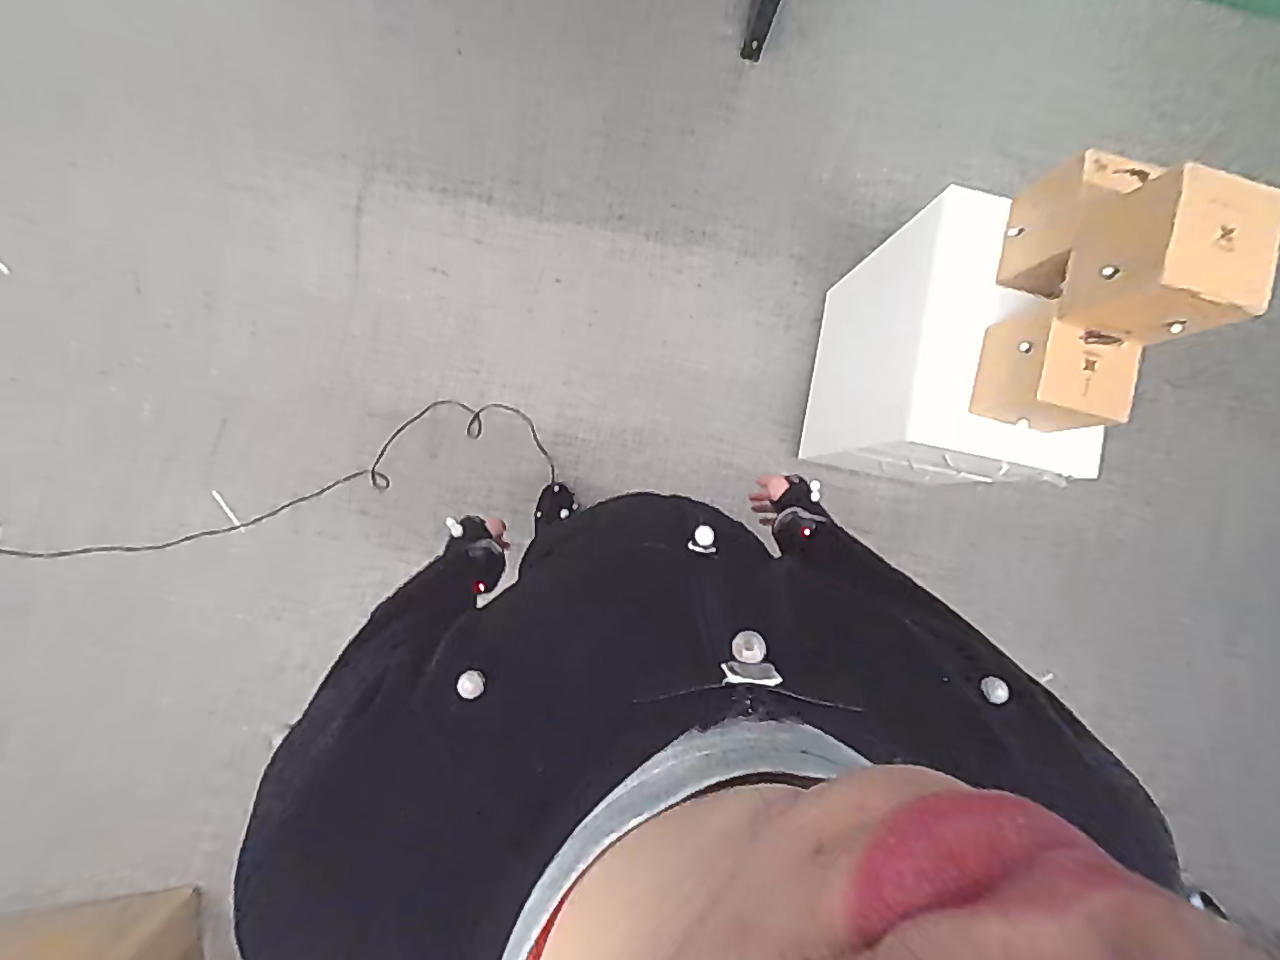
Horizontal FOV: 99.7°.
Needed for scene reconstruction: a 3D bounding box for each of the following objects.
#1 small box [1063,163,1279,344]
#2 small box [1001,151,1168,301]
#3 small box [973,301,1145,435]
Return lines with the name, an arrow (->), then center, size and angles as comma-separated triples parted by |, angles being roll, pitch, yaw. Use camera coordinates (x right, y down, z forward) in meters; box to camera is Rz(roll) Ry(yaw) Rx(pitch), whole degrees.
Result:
small box -> 0.782, -0.321, 0.807 | 0.168, 0.176, 0.179 | 13, 87, -5
small box -> 0.793, -0.441, 0.973 | 0.168, 0.176, 0.179 | 11, 90, -5
small box -> 0.733, -0.188, 0.962 | 0.168, 0.176, 0.179 | 14, 88, -4
